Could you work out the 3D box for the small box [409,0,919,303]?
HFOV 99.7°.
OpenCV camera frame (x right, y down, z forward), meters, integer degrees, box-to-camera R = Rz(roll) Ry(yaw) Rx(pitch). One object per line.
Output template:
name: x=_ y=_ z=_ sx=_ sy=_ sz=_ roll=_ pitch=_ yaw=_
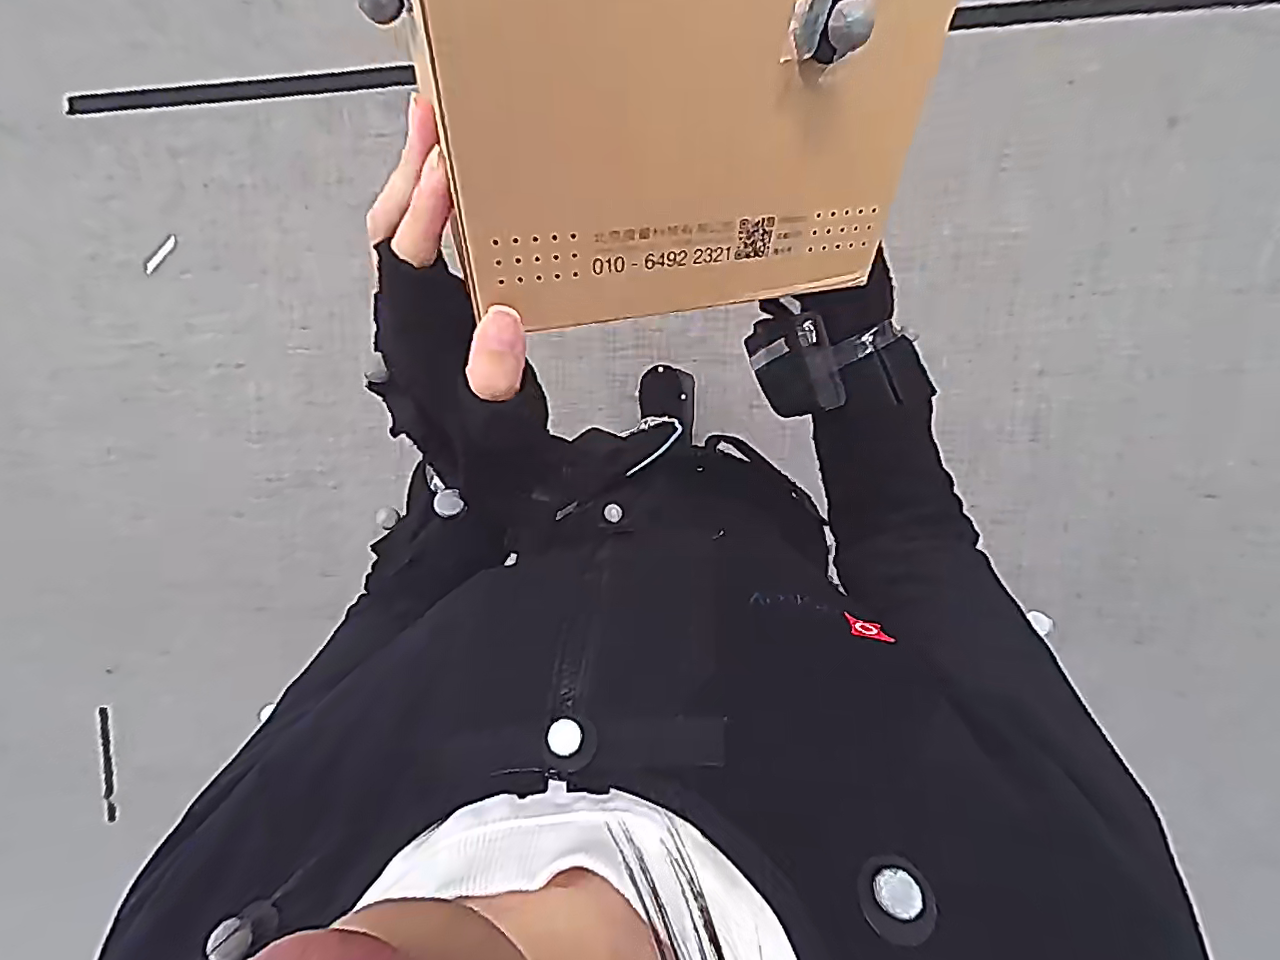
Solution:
small box: x=-0.005 y=-0.183 z=0.221 sx=0.168 sy=0.179 sz=0.176 roll=-11 pitch=135 yaw=-14
